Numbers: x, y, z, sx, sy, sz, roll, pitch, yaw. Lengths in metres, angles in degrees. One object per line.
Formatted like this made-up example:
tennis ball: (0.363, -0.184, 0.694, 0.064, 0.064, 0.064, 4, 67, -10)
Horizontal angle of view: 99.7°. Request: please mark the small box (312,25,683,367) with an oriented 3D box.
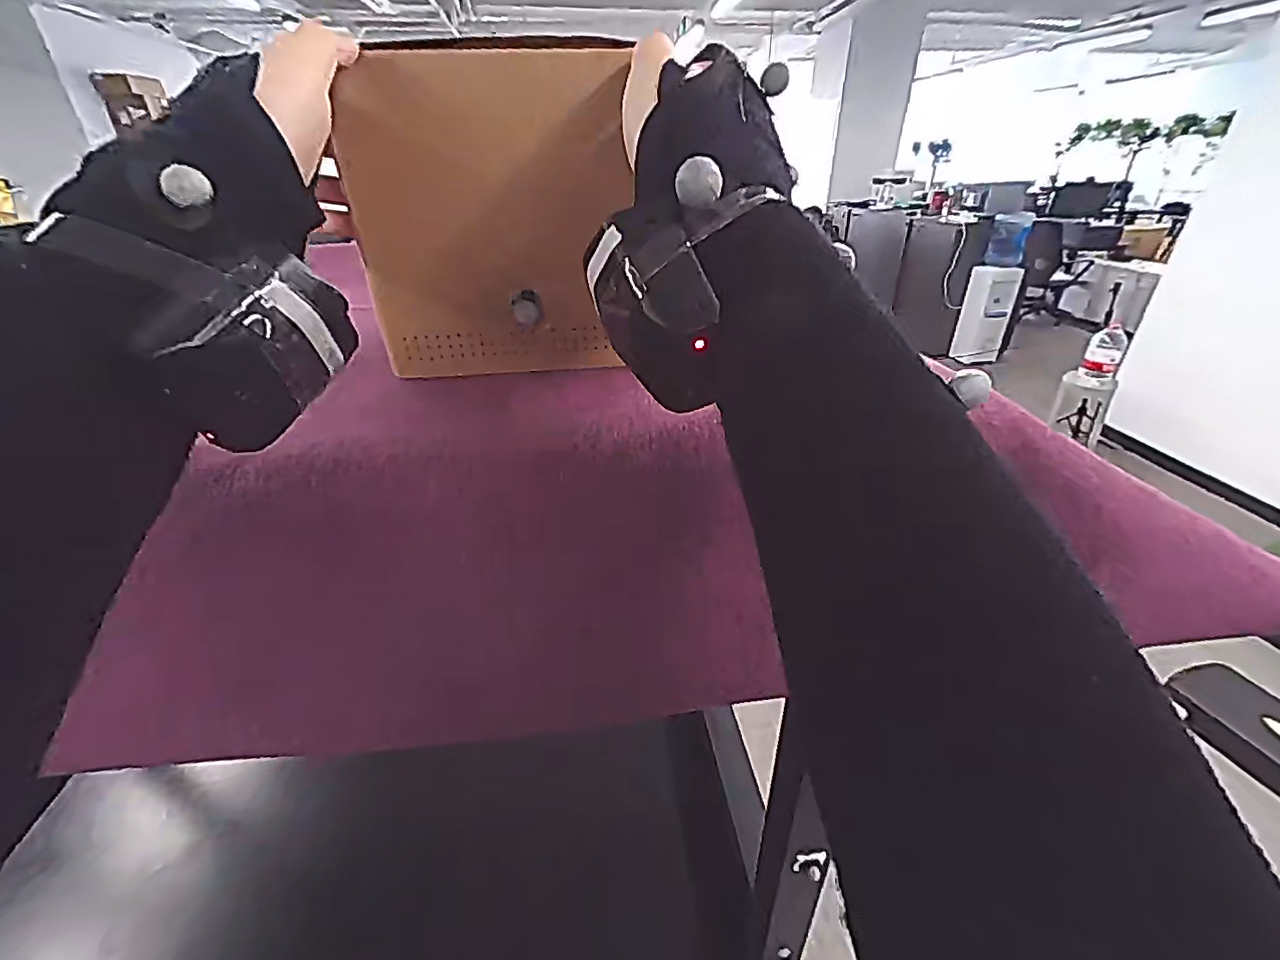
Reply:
small box: (-0.073, -0.184, 0.364, 0.179, 0.176, 0.168, -4, 33, -5)
